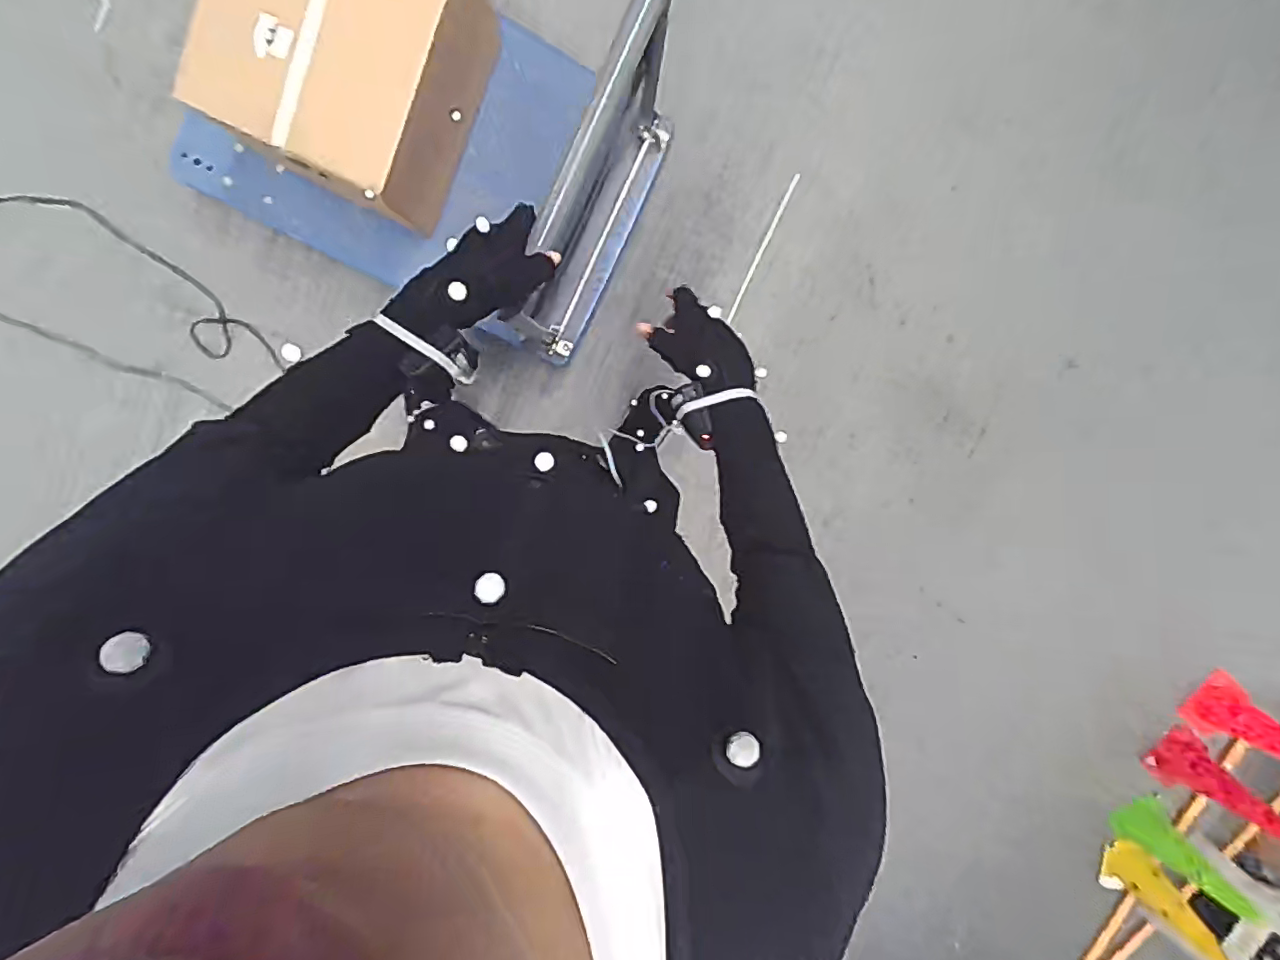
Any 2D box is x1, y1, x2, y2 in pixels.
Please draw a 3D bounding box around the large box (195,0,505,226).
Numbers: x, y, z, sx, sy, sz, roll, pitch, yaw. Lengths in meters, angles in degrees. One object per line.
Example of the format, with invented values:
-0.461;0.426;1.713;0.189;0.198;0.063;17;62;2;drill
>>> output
-0.463;-0.734;0.940;0.320;0.320;0.408;23;100;-10;large box
